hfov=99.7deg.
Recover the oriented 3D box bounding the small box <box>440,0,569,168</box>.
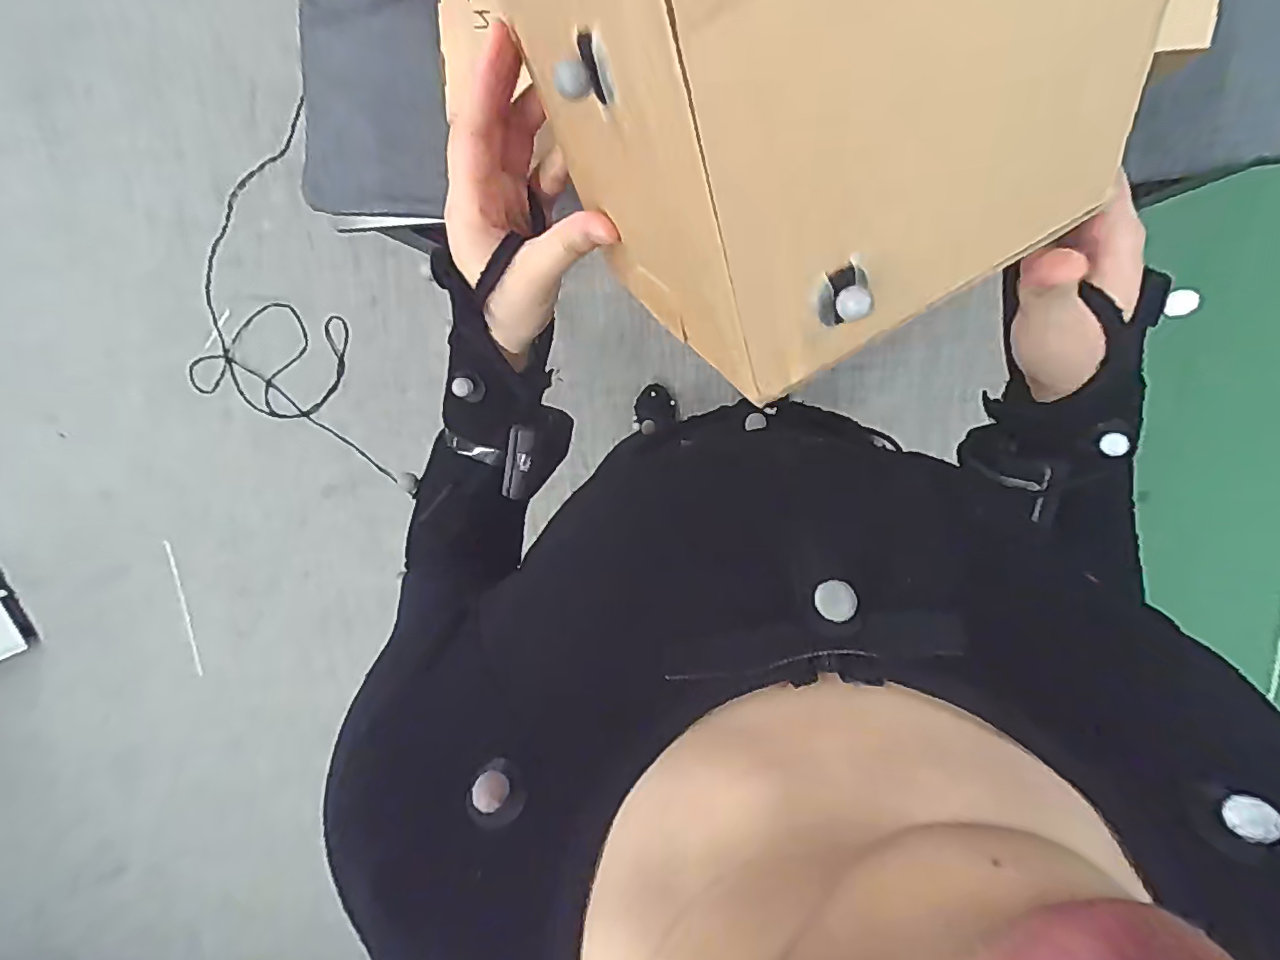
[{"bbox_3d":[-0.099,-0.460,0.593,0.179,0.176,0.168,2,102,6],"label":"small box"}]

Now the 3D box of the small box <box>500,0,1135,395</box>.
[{"bbox_3d":[0.059,-0.174,0.213,0.179,0.168,0.176,-30,138,-1],"label":"small box"}]

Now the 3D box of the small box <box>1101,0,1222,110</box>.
[{"bbox_3d":[0.418,-0.477,0.534,0.168,0.176,0.179,0,101,7],"label":"small box"}]
